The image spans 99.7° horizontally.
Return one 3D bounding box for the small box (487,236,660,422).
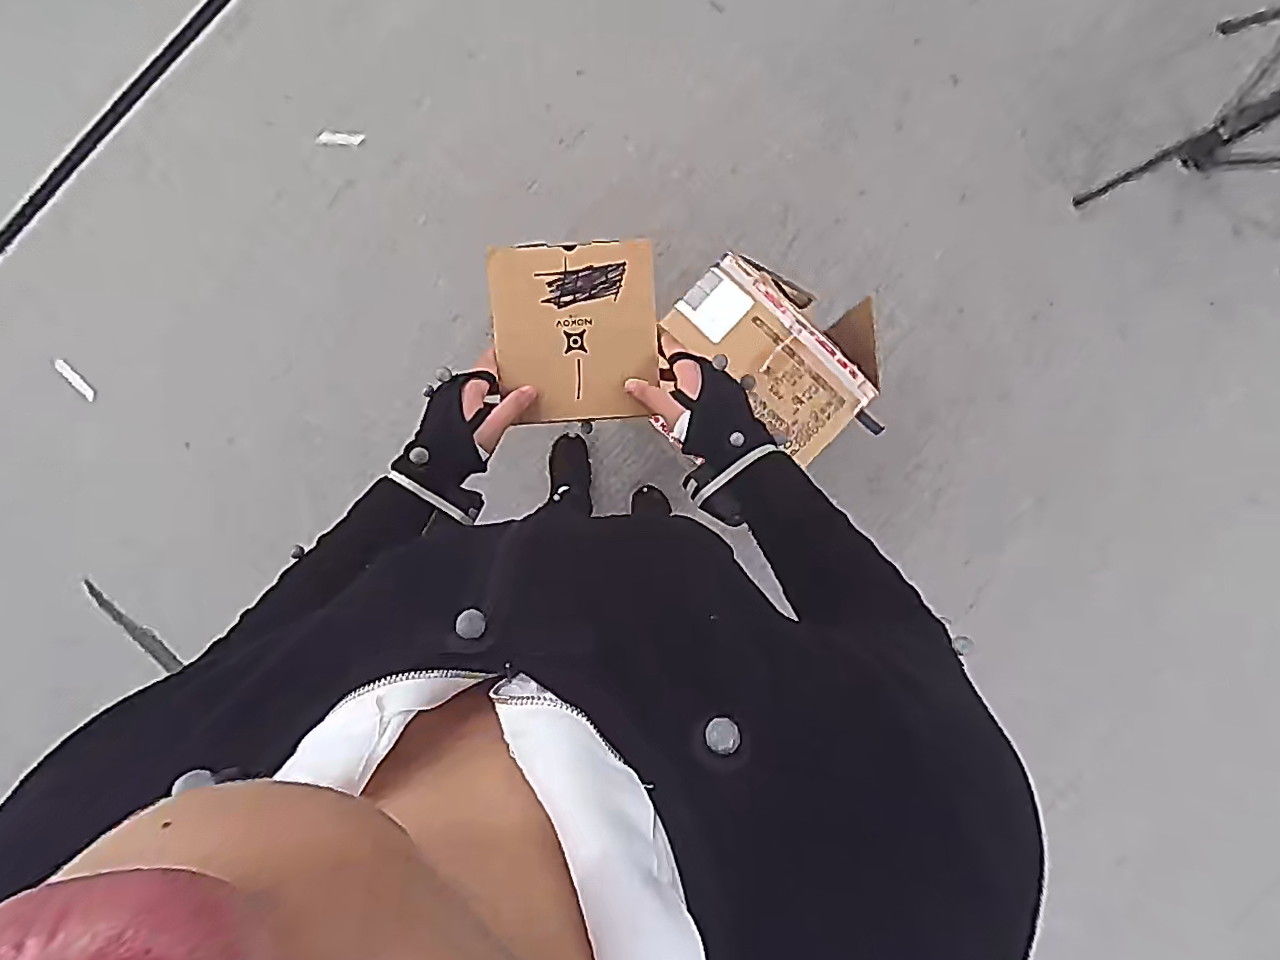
[{"bbox_3d":[-0.068,-0.160,0.623,0.168,0.176,0.179,-5,97,0],"label":"small box"}]
